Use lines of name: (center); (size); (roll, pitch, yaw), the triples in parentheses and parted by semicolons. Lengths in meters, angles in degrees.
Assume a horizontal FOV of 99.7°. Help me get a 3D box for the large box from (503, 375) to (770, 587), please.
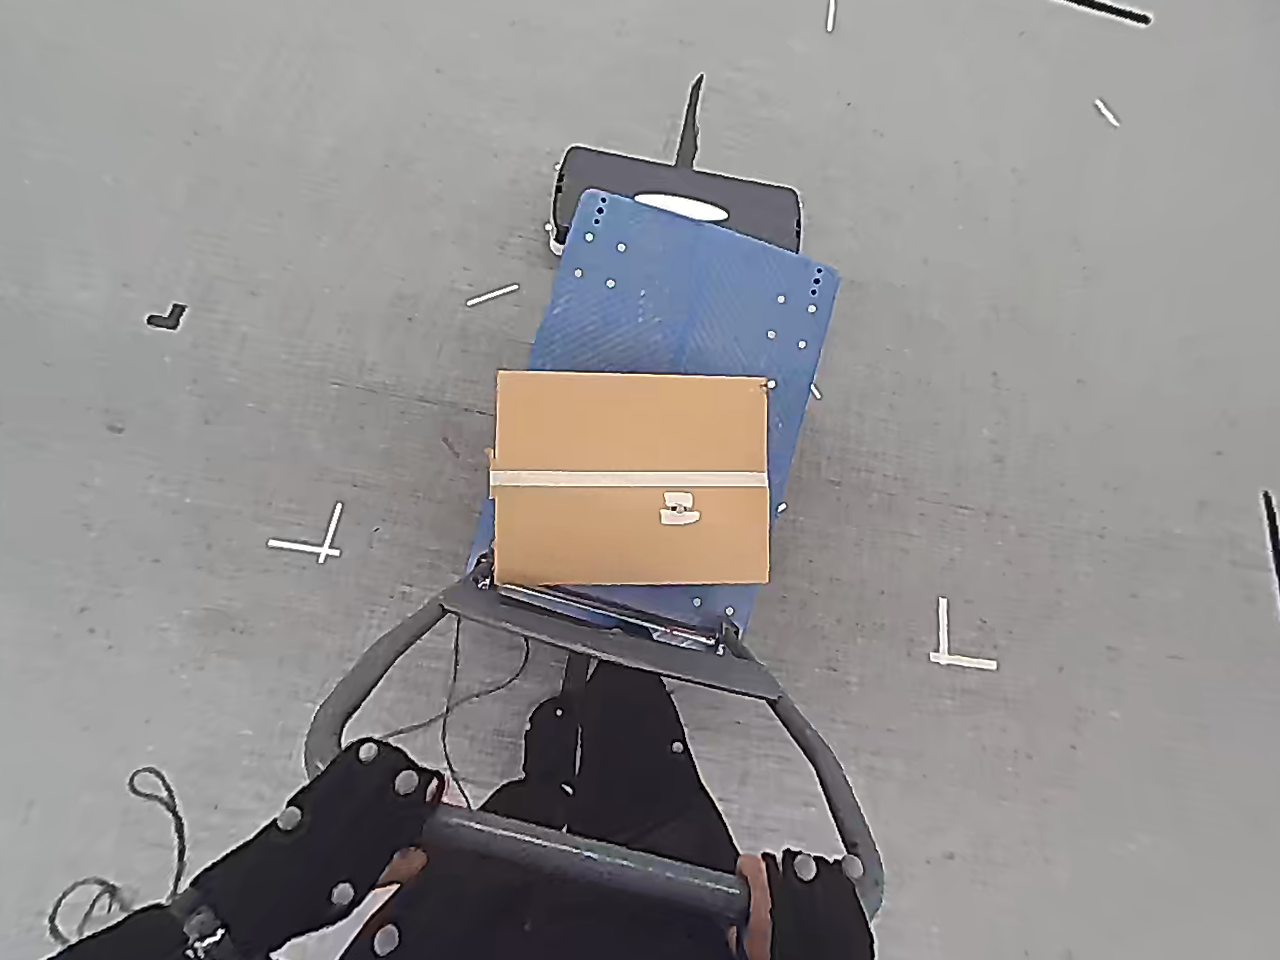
large box: (-0.018, 0.007, 0.952); (0.408, 0.320, 0.320); (0, 88, -6)
